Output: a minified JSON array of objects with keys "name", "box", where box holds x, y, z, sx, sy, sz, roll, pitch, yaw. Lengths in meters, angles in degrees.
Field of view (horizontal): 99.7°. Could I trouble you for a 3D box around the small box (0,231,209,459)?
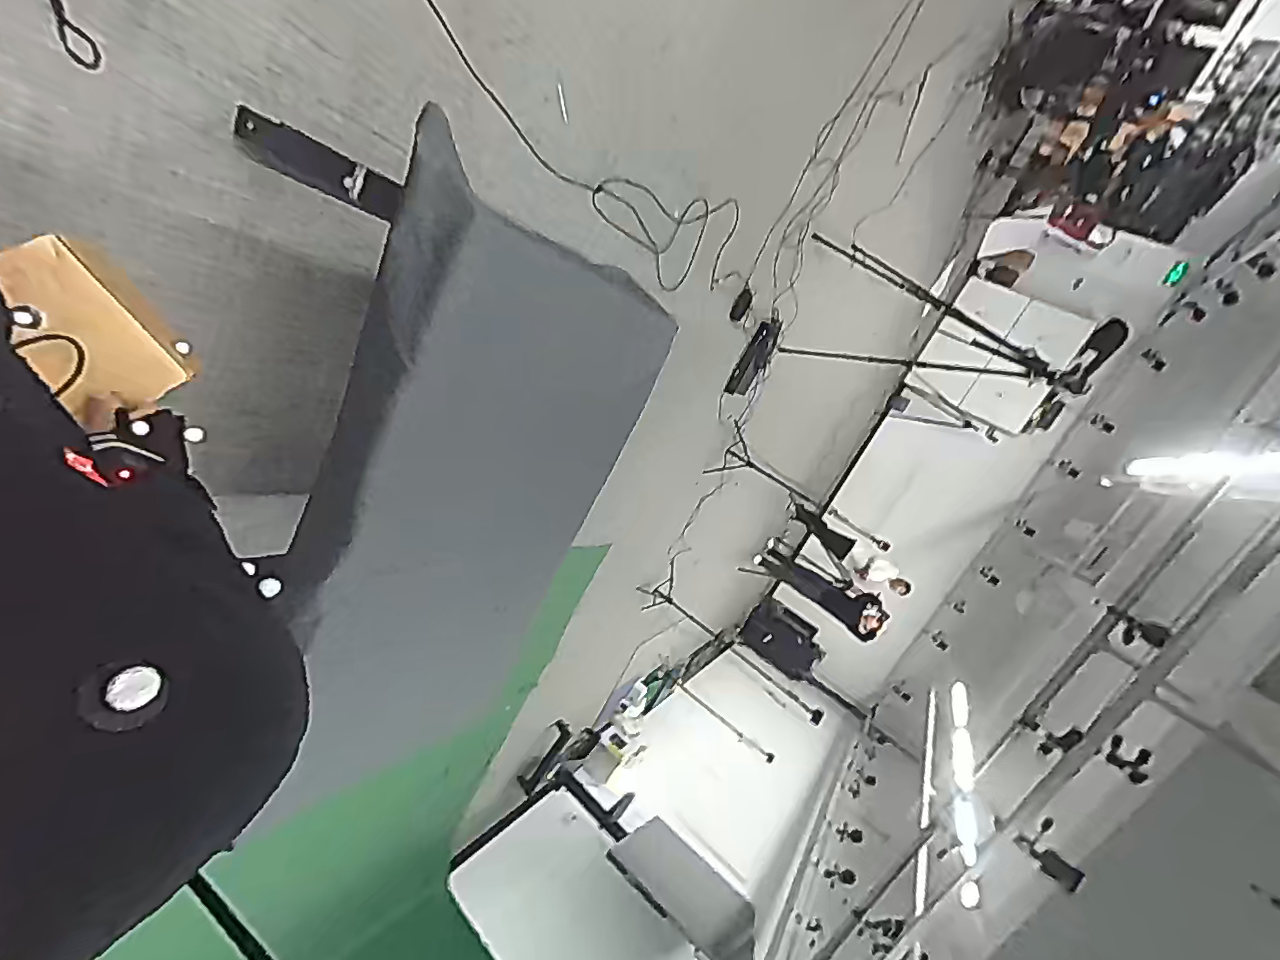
[{"name":"small box","box":[-0.625,-0.153,0.594,0.168,0.179,0.176,-39,123,-18]}]
